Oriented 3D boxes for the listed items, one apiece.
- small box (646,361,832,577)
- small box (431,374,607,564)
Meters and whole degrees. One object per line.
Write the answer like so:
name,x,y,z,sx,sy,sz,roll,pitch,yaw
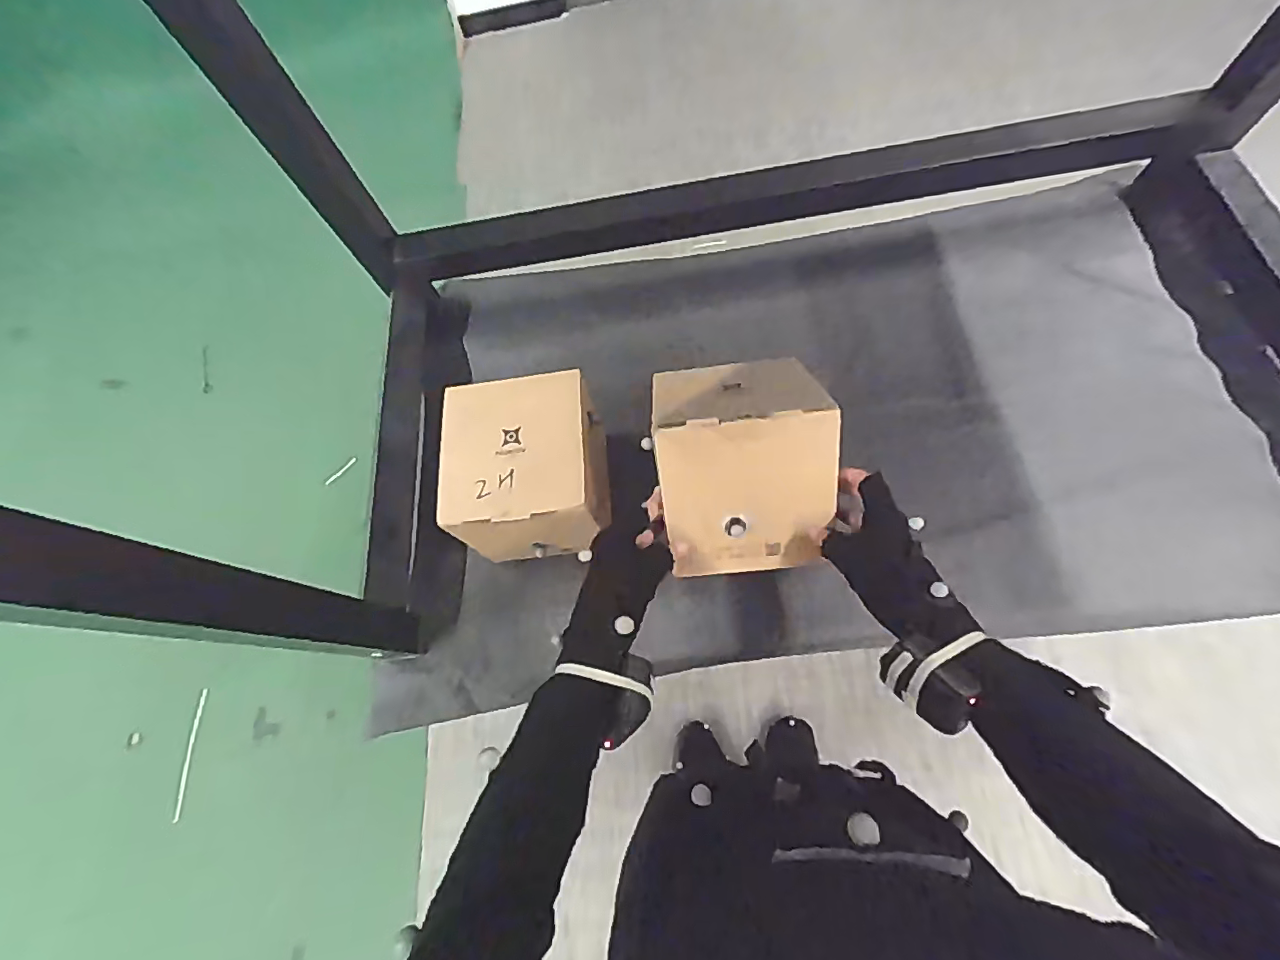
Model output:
small box,0.099,-0.017,0.586,0.168,0.176,0.179,-6,28,5
small box,-0.139,-0.006,0.678,0.168,0.176,0.179,-7,66,6
